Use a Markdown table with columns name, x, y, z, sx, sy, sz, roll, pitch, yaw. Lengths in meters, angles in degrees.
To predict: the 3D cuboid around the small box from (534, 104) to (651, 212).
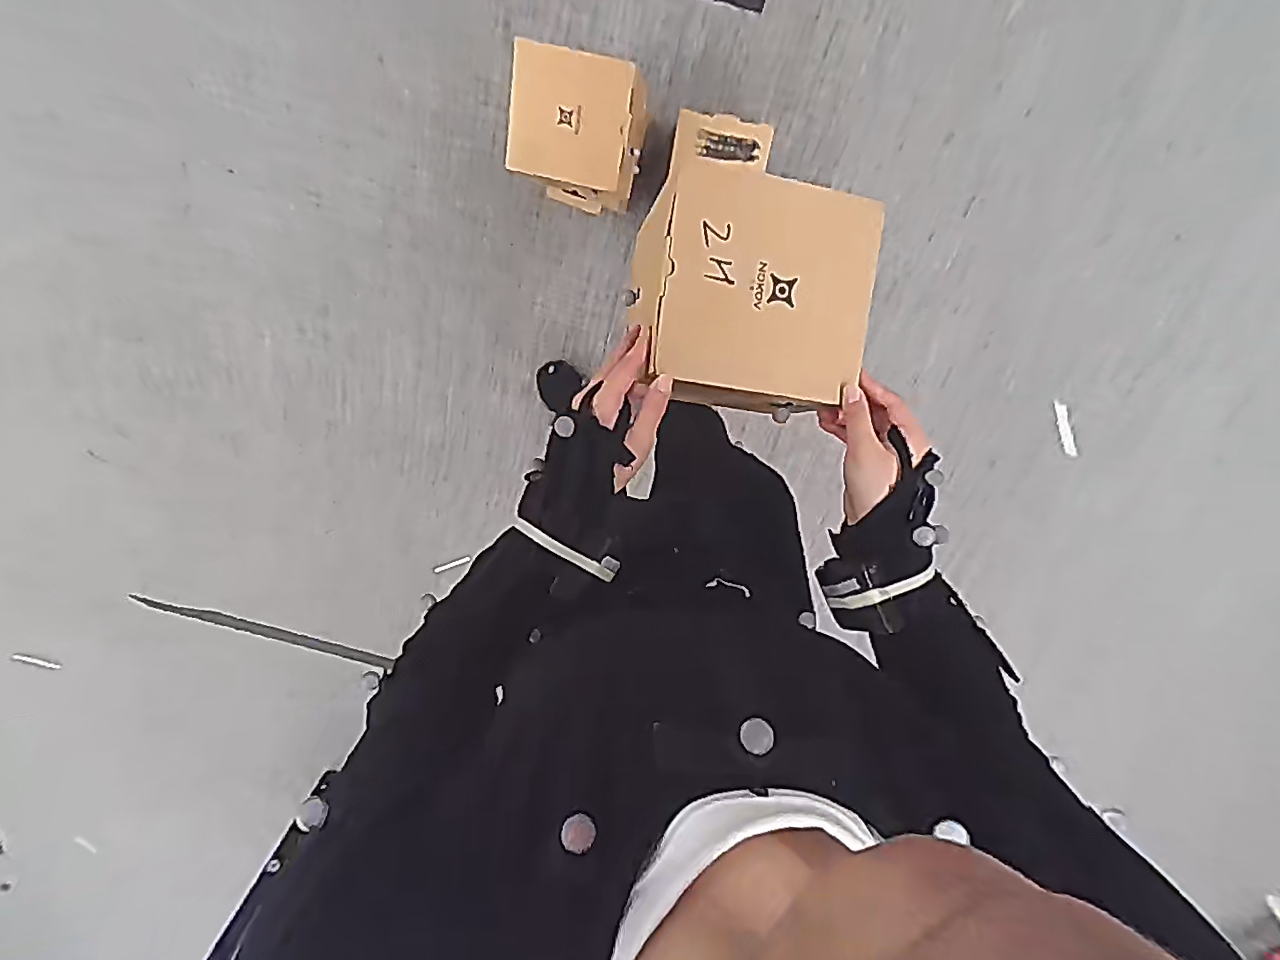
| name | x | y | z | sx | sy | sz | roll | pitch | yaw |
| --- | --- | --- | --- | --- | --- | --- | --- | --- | --- |
| small box | -0.081 | -0.616 | 1.008 | 0.168 | 0.176 | 0.179 | 18 | 114 | -4 |

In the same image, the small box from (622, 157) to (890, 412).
| name | x | y | z | sx | sy | sz | roll | pitch | yaw |
| --- | --- | --- | --- | --- | --- | --- | --- | --- | --- |
| small box | 0.090 | -0.155 | 0.496 | 0.179 | 0.176 | 0.168 | 7 | 94 | -11 |

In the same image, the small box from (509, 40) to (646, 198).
| name | x | y | z | sx | sy | sz | roll | pitch | yaw |
| --- | --- | --- | --- | --- | --- | --- | --- | --- | --- |
| small box | -0.093 | -0.555 | 0.857 | 0.179 | 0.176 | 0.168 | 11 | 115 | -1 |
